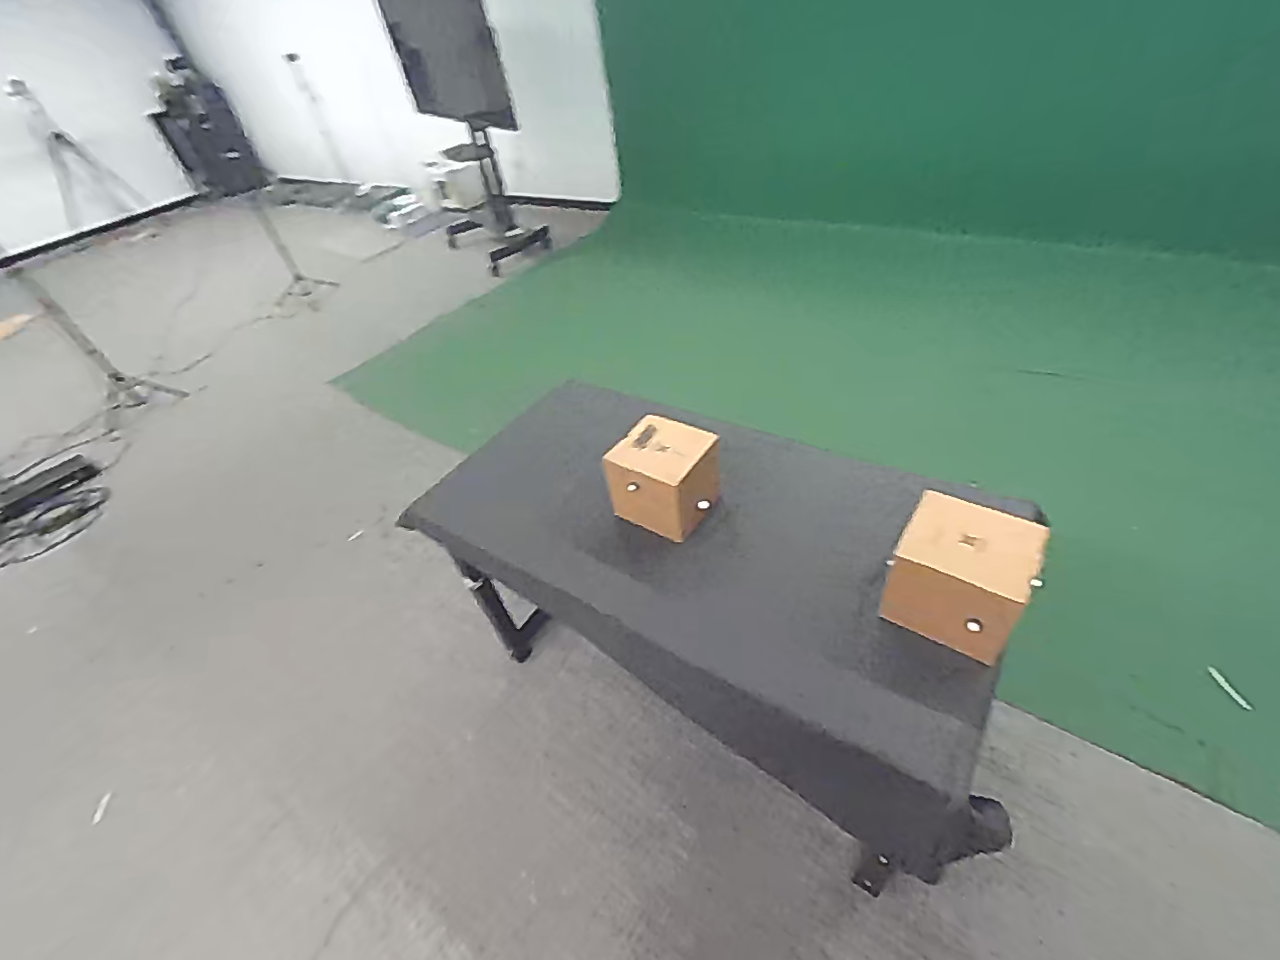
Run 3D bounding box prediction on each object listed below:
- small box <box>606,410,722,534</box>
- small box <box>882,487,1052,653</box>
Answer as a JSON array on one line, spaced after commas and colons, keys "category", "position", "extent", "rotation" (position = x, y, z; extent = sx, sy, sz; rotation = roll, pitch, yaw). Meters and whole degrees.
[{"category": "small box", "position": [0.057, -0.016, 1.130], "extent": [0.179, 0.176, 0.168], "rotation": [22, 53, 30]}, {"category": "small box", "position": [0.511, 0.146, 0.863], "extent": [0.179, 0.176, 0.168], "rotation": [22, 51, 32]}]
